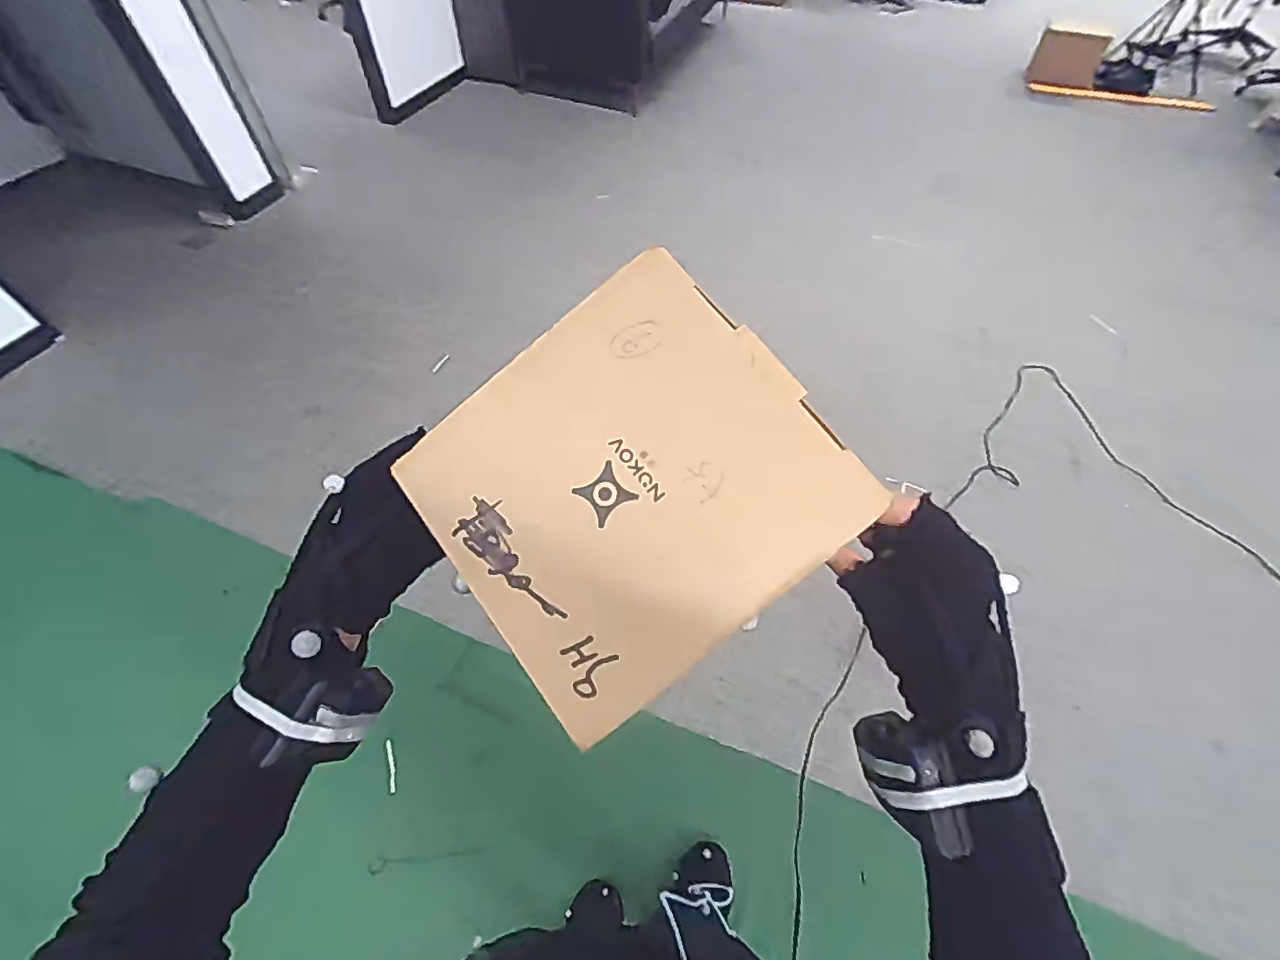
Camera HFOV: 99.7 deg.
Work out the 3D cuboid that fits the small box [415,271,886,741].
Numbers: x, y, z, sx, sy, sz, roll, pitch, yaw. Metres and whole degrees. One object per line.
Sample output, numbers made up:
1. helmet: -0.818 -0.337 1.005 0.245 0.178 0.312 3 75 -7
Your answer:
1. small box: 0.009 0.018 0.339 0.179 0.176 0.168 -39 77 2
